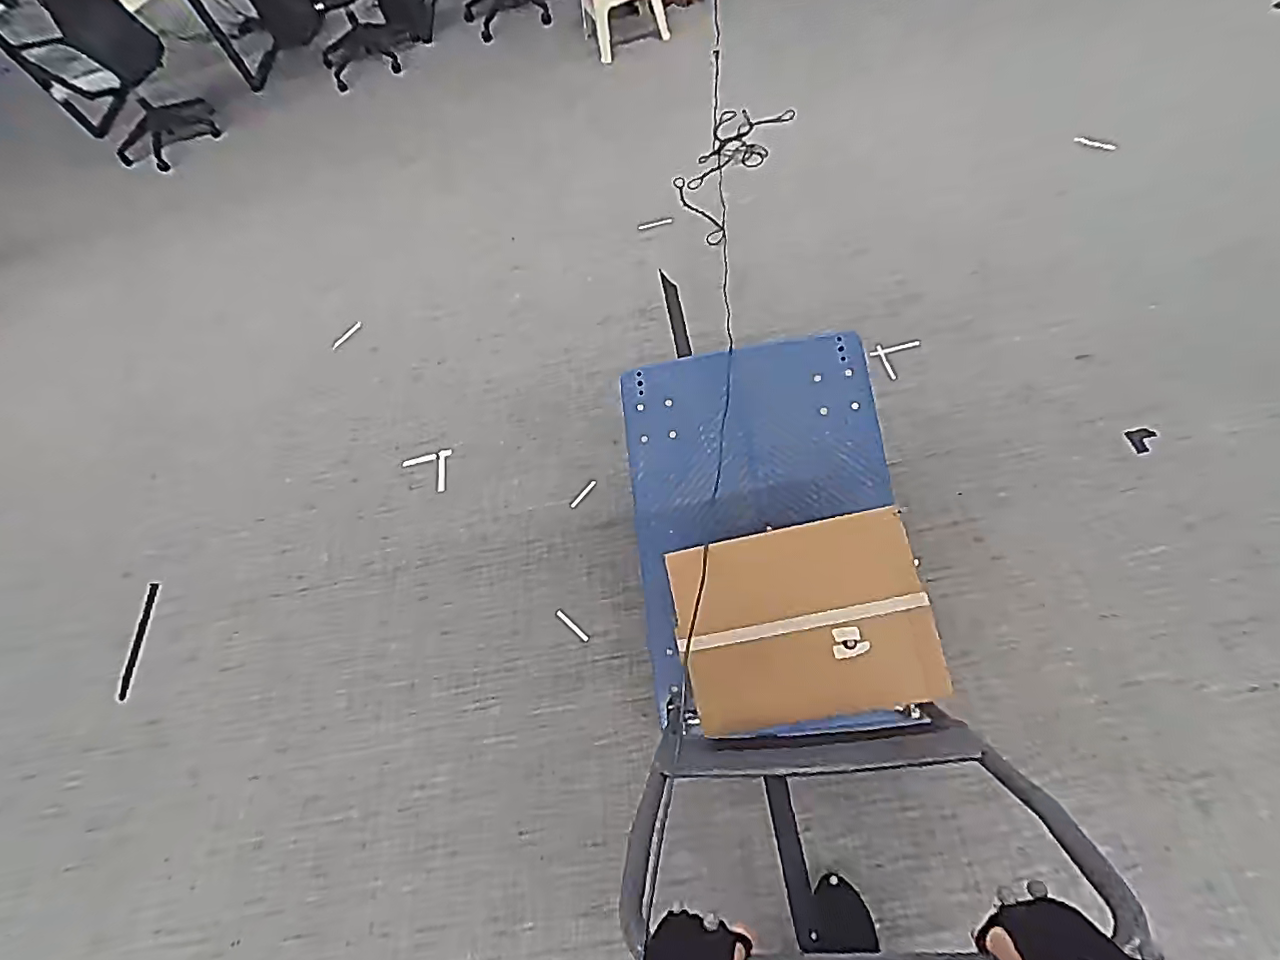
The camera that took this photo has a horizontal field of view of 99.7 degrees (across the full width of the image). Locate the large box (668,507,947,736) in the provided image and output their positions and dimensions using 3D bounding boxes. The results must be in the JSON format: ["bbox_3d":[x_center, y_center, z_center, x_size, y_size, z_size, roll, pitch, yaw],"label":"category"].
[{"bbox_3d":[0.295,0.264,1.061,0.408,0.320,0.320,-13,80,7],"label":"large box"}]
